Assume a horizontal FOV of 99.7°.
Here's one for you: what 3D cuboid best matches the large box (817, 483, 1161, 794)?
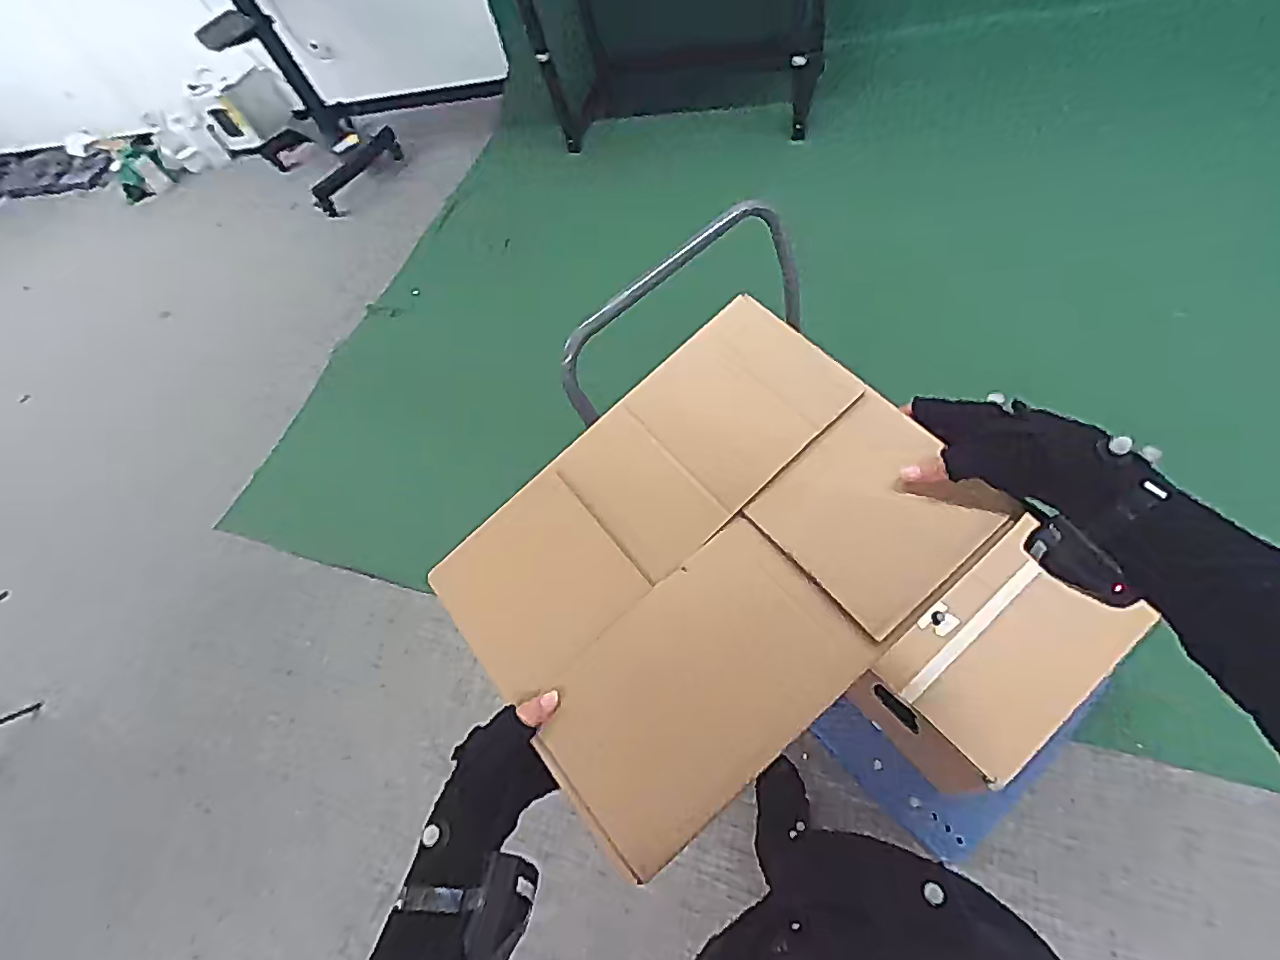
[{"bbox_3d":[0.579,0.289,0.979,0.408,0.320,0.320,-40,57,-9],"label":"large box"}]
